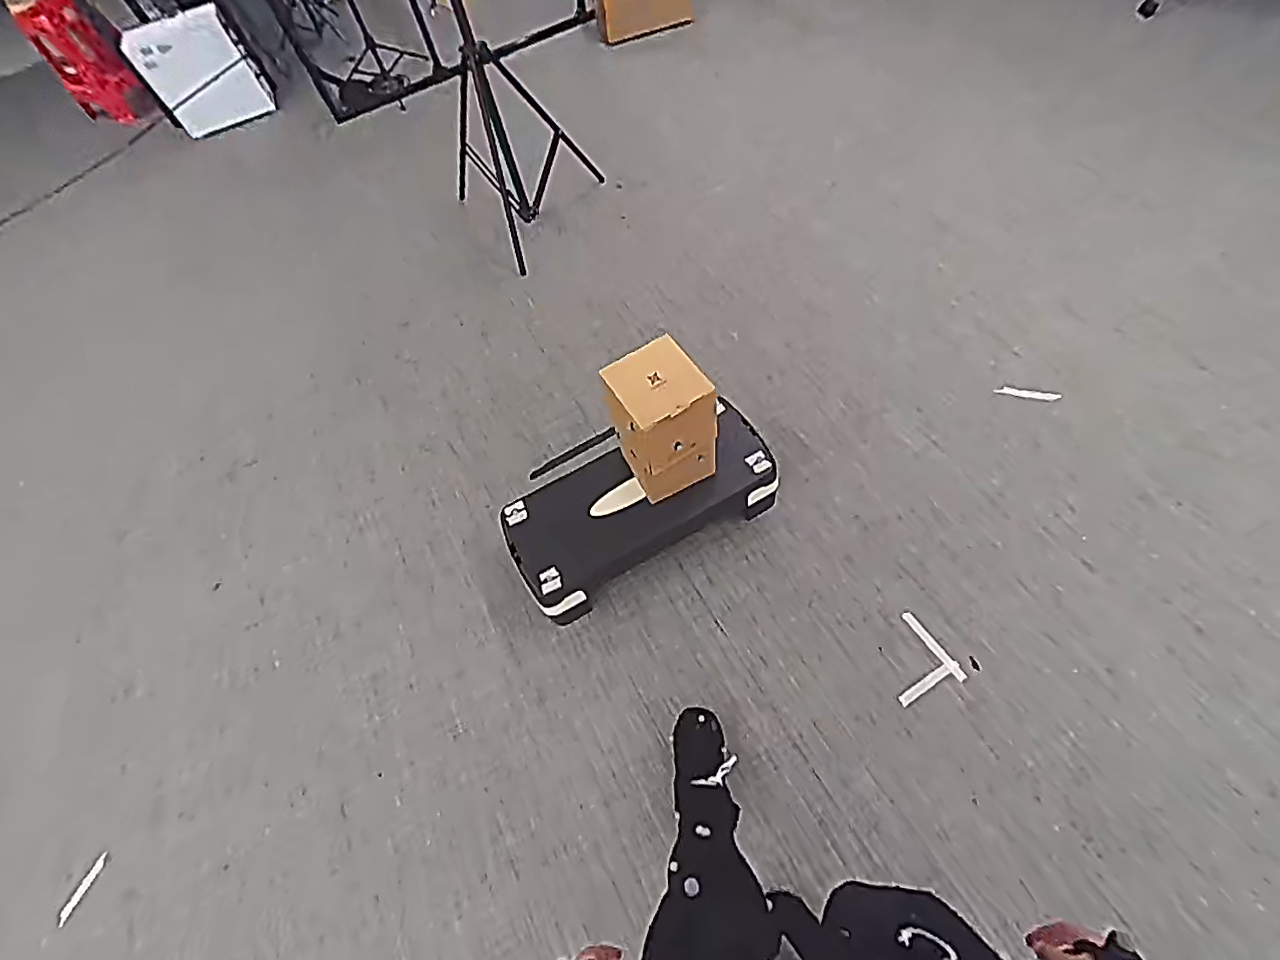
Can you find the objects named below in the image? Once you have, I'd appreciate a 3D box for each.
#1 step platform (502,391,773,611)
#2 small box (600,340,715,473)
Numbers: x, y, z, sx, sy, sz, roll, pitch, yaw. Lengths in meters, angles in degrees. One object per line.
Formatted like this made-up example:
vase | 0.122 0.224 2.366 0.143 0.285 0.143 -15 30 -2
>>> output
step platform | -0.001 0.047 1.395 0.684 0.204 0.286 -29 61 -8
small box | 0.038 -0.146 1.110 0.168 0.176 0.179 -30 62 -10
